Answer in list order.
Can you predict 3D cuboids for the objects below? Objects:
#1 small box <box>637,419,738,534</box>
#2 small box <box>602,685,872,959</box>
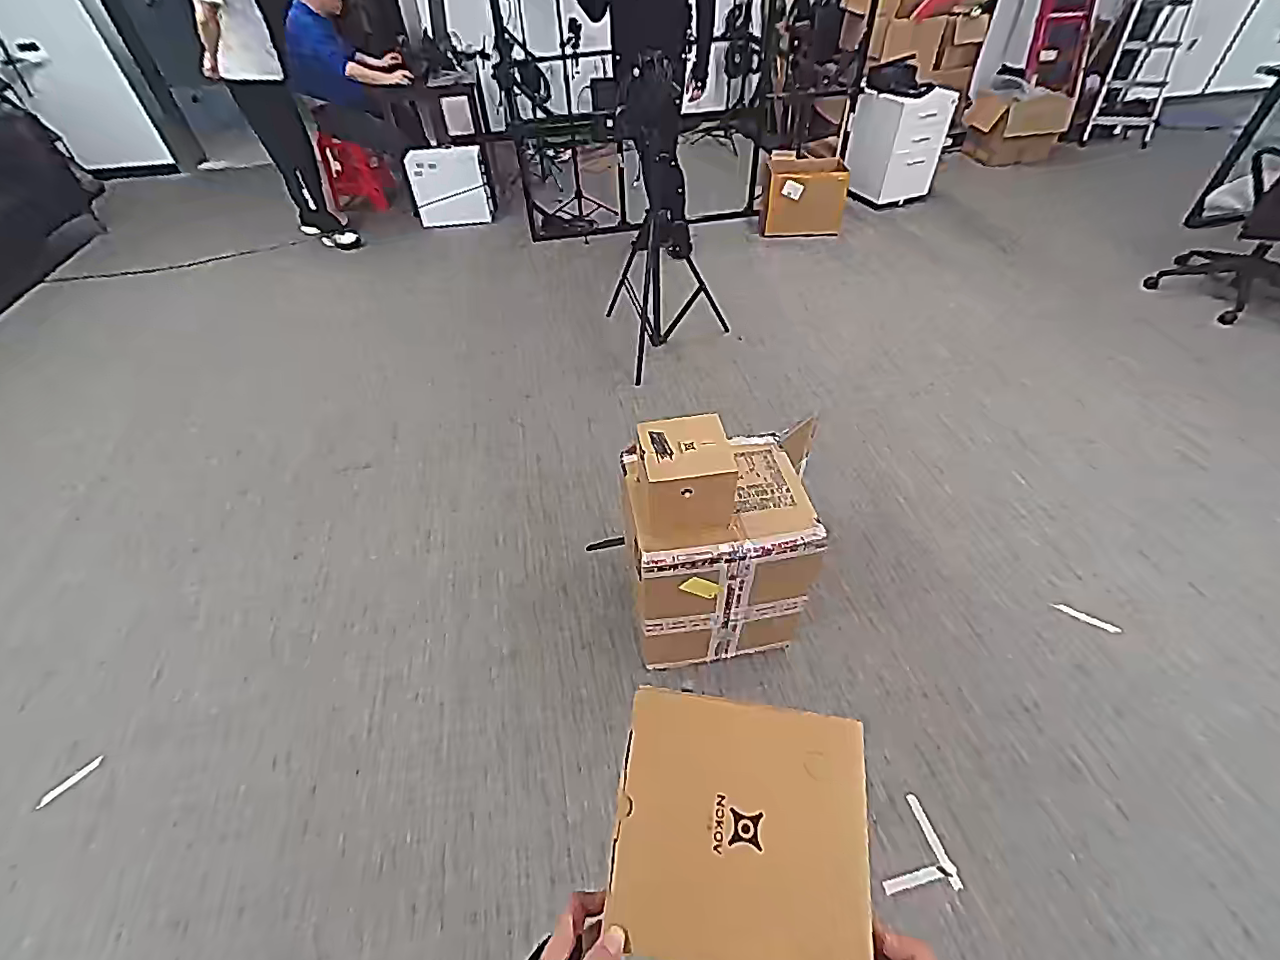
[{"bbox_3d":[0.093,-0.003,1.123,0.179,0.176,0.168,-7,49,-5],"label":"small box"},{"bbox_3d":[0.080,0.281,0.455,0.179,0.176,0.168,4,62,10],"label":"small box"}]
